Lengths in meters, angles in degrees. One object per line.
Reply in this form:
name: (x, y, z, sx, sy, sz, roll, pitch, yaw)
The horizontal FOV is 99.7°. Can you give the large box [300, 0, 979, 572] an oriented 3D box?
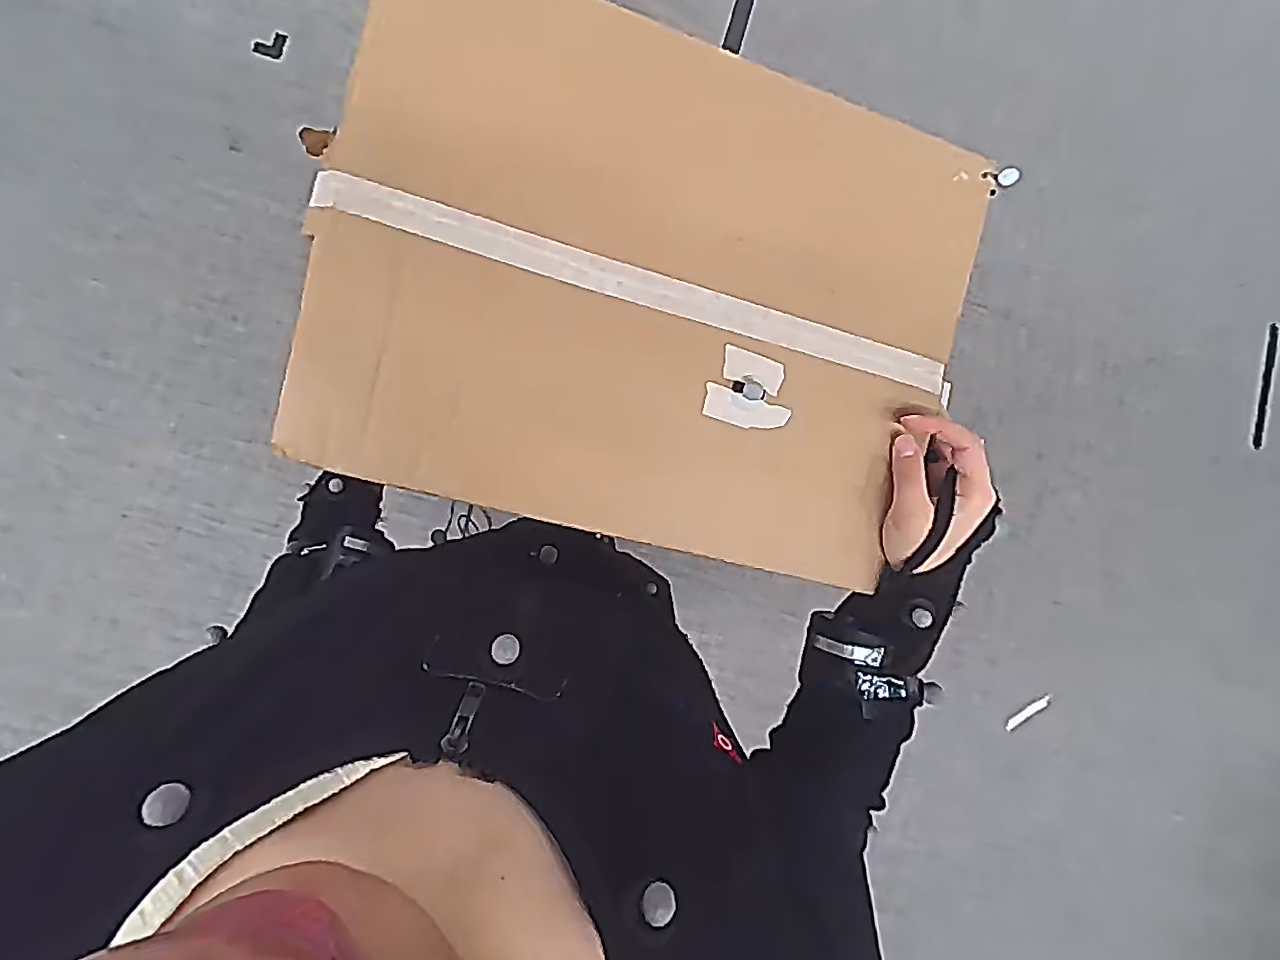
large box: (-0.008, -0.132, 0.497, 0.408, 0.320, 0.320, 14, 92, -12)
